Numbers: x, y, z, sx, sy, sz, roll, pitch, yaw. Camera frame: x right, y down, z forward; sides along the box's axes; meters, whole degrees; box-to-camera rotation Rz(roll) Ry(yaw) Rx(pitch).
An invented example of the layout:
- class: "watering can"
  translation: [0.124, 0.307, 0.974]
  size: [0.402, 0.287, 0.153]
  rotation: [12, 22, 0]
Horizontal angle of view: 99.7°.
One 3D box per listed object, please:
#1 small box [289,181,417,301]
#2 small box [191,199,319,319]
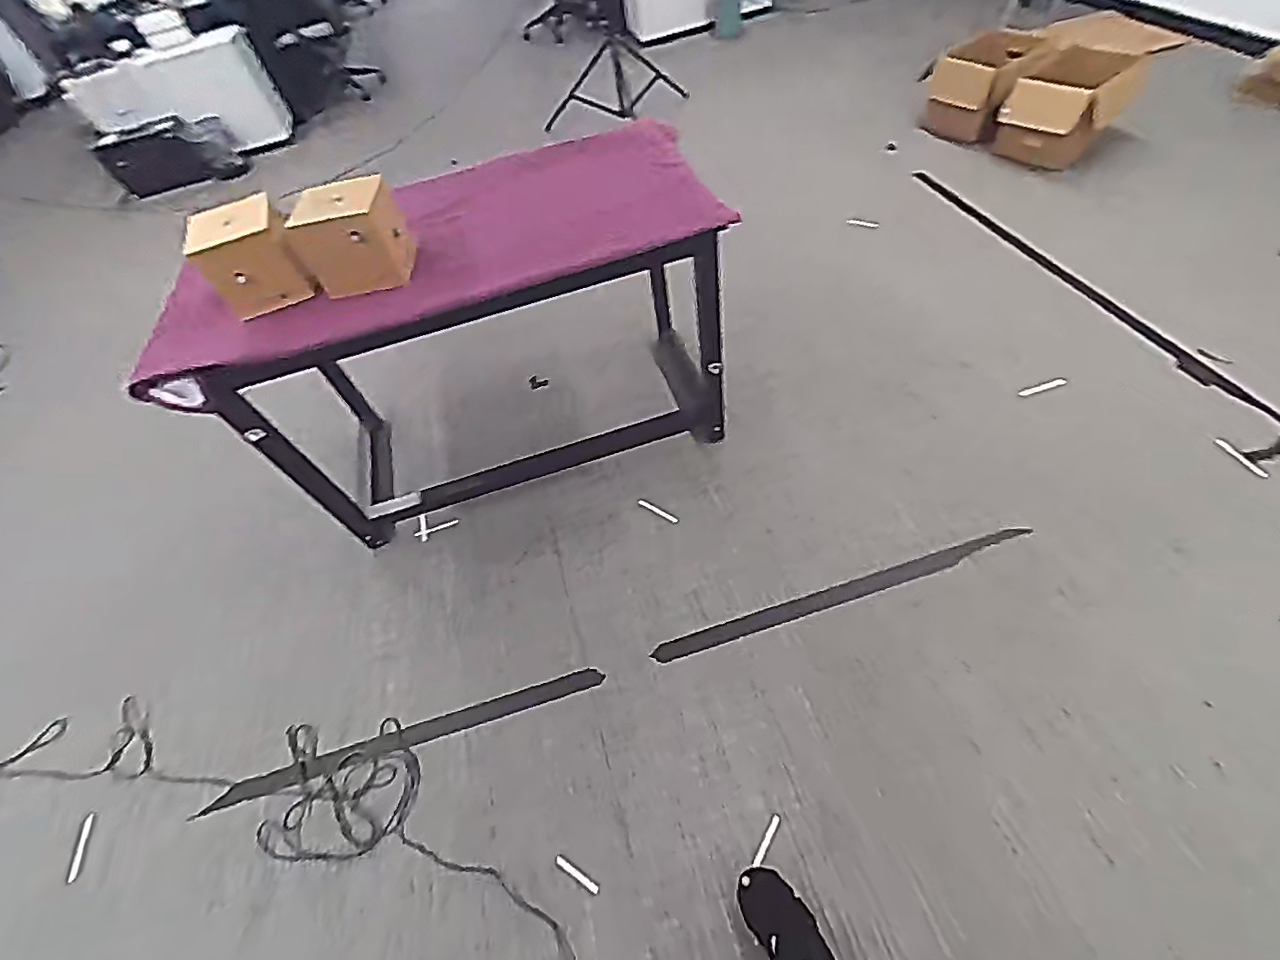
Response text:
- class: "small box"
  translation: [-0.614, -0.520, 1.187]
  size: [0.179, 0.176, 0.168]
  rotation: [-10, 52, 3]
- class: "small box"
  translation: [-0.843, -0.481, 1.199]
  size: [0.168, 0.176, 0.179]
  rotation: [-24, 55, -8]
